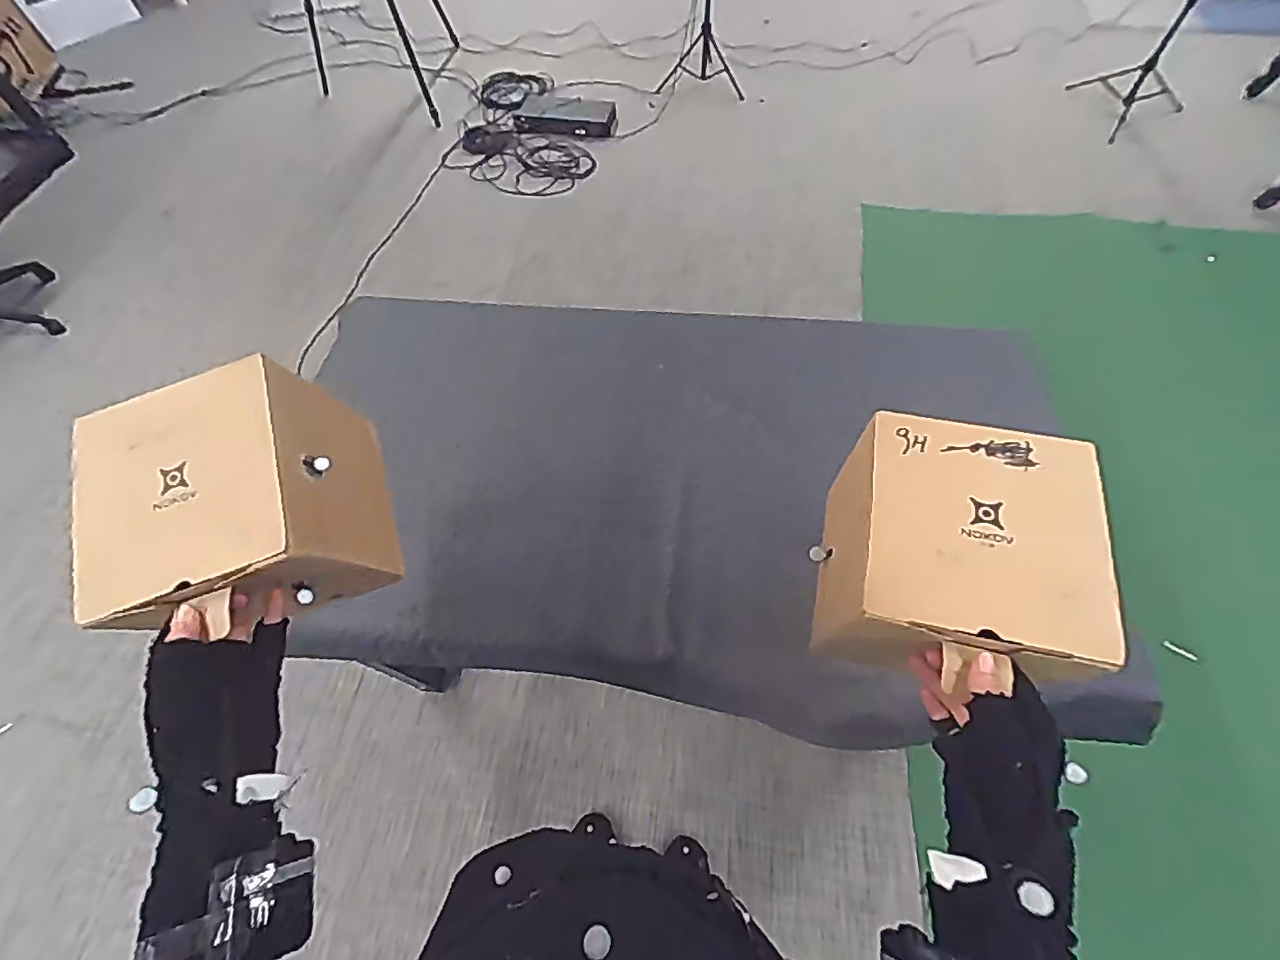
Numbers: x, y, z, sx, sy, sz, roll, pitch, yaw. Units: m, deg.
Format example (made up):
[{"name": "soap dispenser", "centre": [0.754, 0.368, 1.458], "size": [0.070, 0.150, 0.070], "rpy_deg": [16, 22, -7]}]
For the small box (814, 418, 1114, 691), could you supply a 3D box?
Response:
[{"name": "small box", "centre": [0.256, 0.074, 0.470], "size": [0.168, 0.176, 0.179], "rpy_deg": [11, 66, 9]}]

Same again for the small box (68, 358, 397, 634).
[{"name": "small box", "centre": [-0.343, 0.028, 0.484], "size": [0.168, 0.176, 0.179], "rpy_deg": [-20, 71, -1]}]
